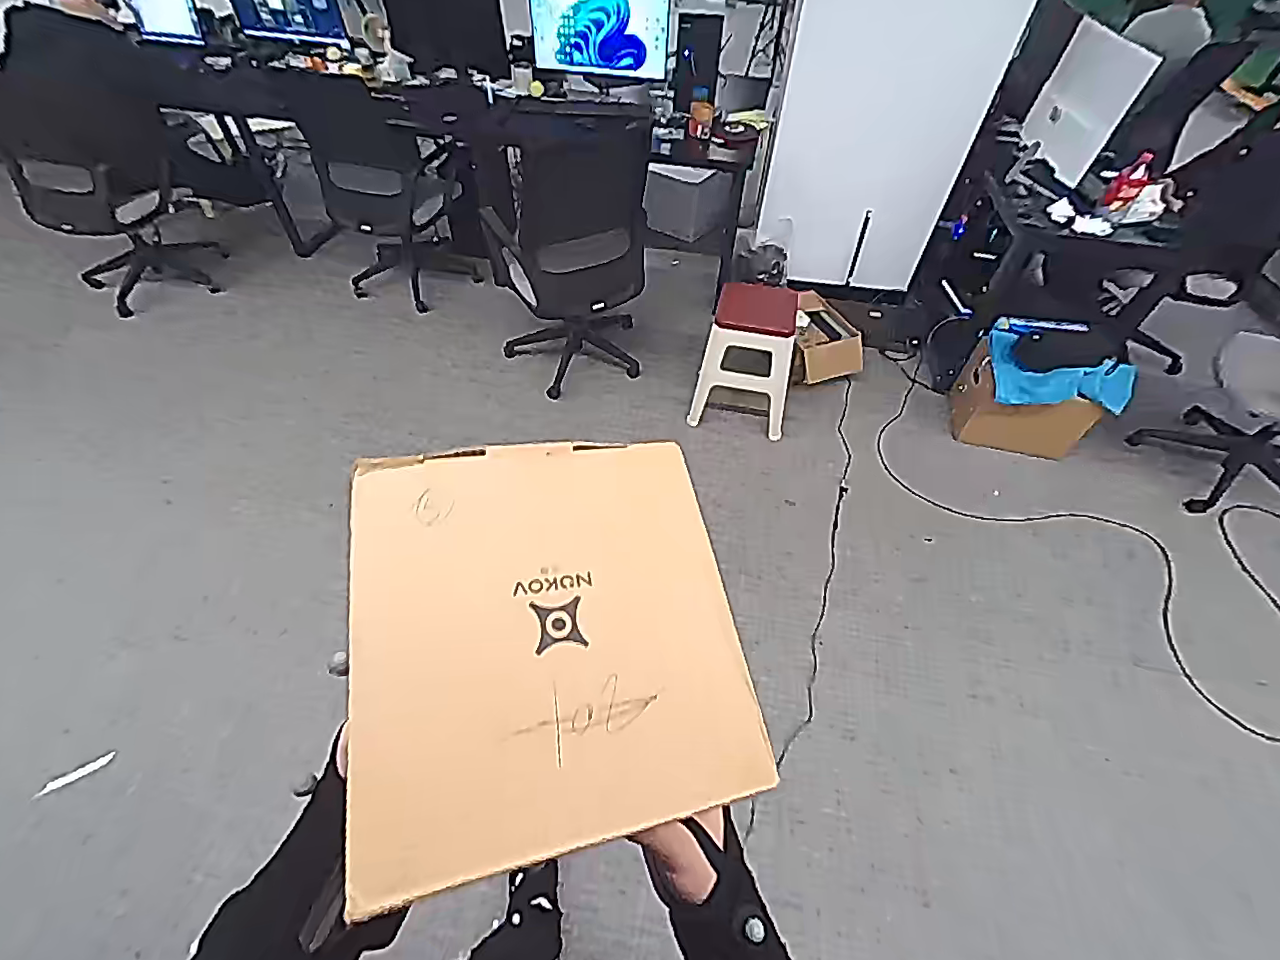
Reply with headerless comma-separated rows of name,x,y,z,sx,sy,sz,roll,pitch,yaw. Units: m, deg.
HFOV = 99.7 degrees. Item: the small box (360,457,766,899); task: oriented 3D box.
small box,-0.058,0.105,0.316,0.168,0.176,0.179,-4,63,-19
